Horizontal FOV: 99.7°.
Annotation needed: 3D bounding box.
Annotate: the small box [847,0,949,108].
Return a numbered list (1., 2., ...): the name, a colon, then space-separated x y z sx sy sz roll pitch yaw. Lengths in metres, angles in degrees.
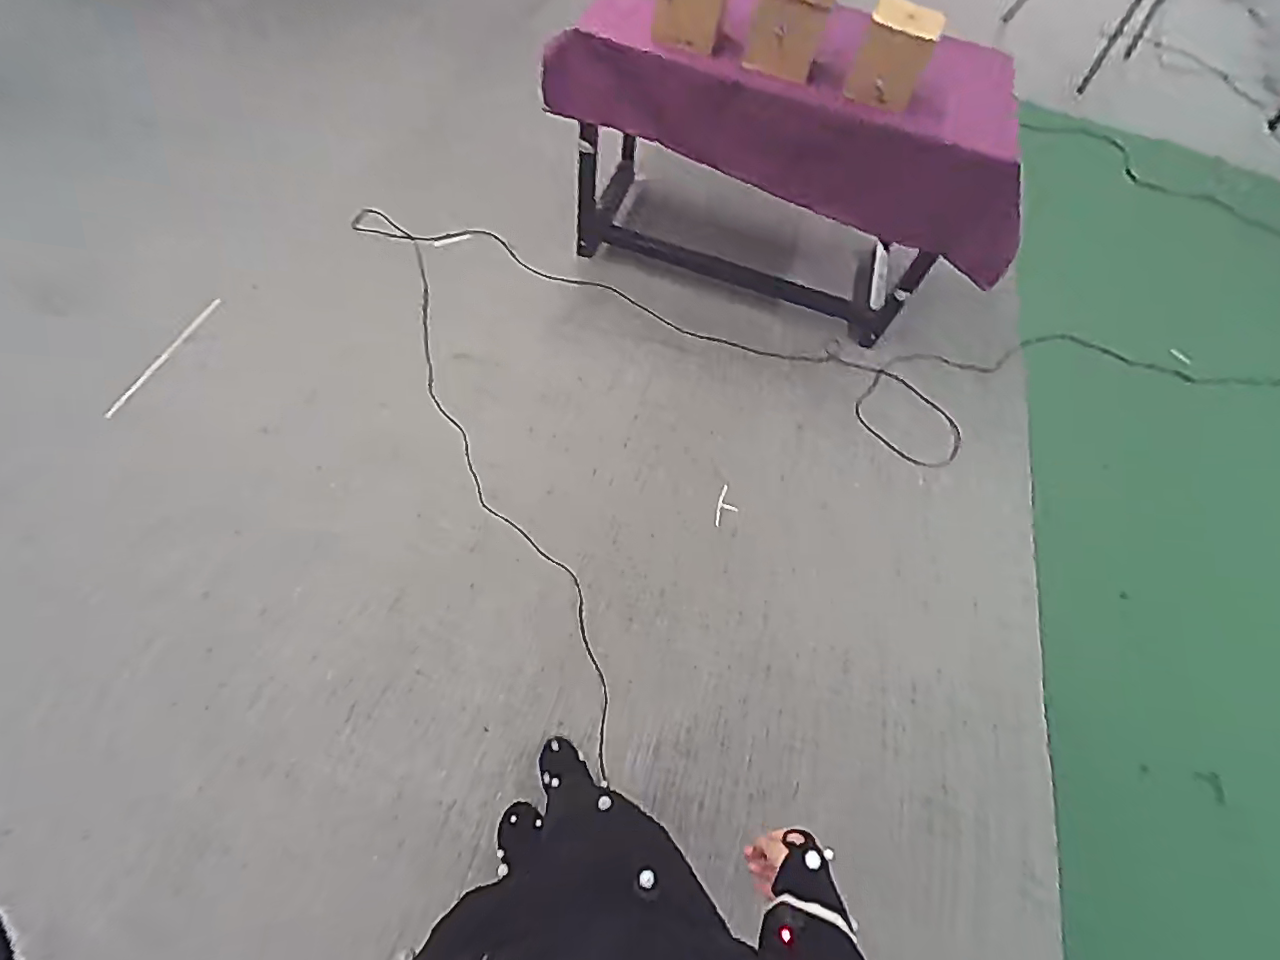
1. small box: 0.646 -1.090 1.367 0.168 0.176 0.179 23 62 5

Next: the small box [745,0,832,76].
1. small box: 0.382 -1.173 1.380 0.179 0.176 0.168 17 62 2
